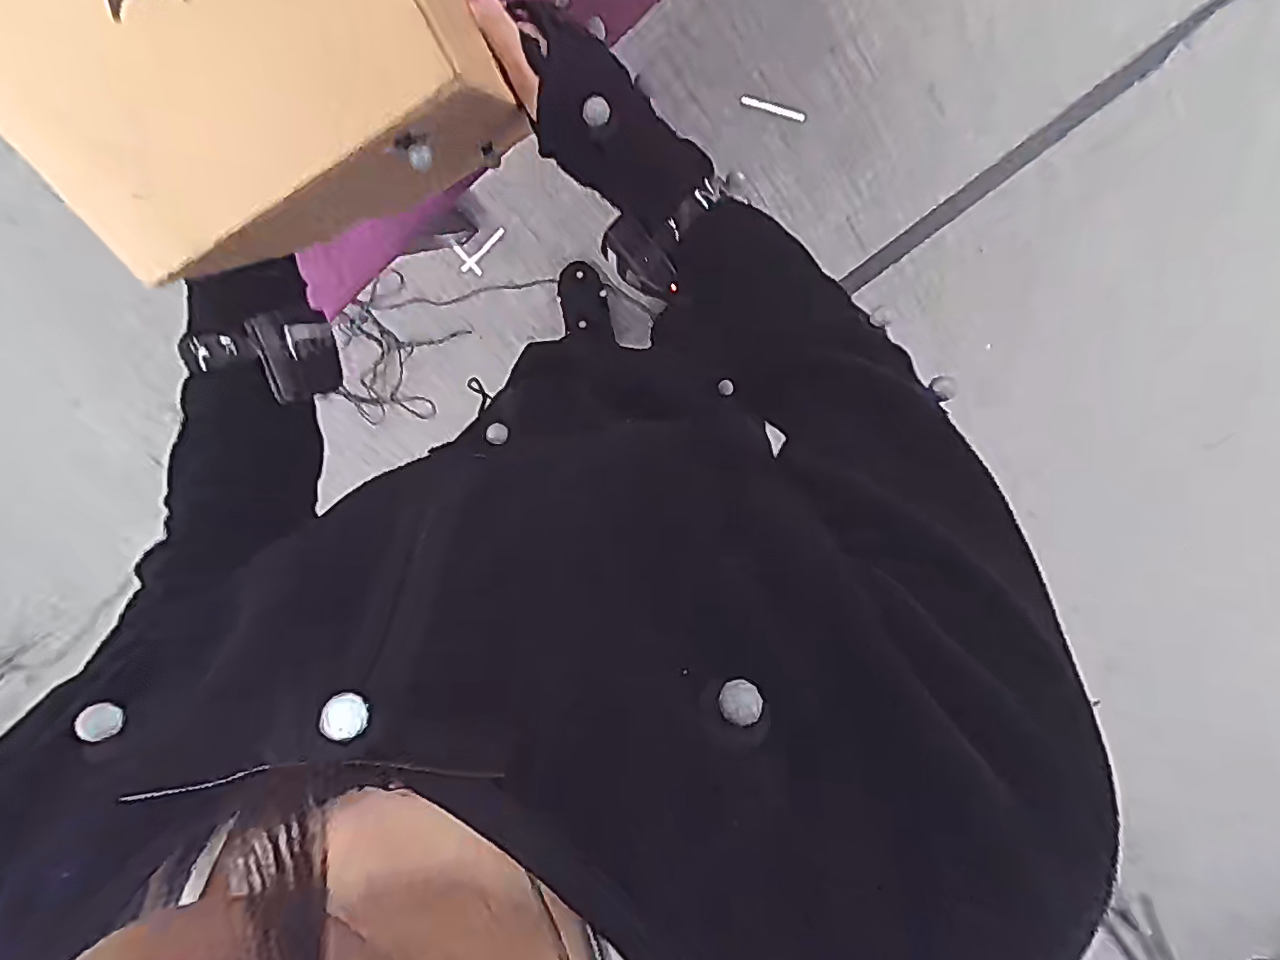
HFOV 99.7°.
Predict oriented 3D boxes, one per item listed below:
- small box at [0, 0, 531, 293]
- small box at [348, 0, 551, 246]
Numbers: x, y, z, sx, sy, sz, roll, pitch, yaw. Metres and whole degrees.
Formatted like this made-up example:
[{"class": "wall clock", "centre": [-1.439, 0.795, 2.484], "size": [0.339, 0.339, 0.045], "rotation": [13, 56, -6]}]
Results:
[{"class": "small box", "centre": [-0.173, -0.217, 0.258], "size": [0.179, 0.176, 0.168], "rotation": [-25, 118, 11]}, {"class": "small box", "centre": [-0.179, -0.301, 0.394], "size": [0.168, 0.176, 0.179], "rotation": [-27, 117, 10]}]
